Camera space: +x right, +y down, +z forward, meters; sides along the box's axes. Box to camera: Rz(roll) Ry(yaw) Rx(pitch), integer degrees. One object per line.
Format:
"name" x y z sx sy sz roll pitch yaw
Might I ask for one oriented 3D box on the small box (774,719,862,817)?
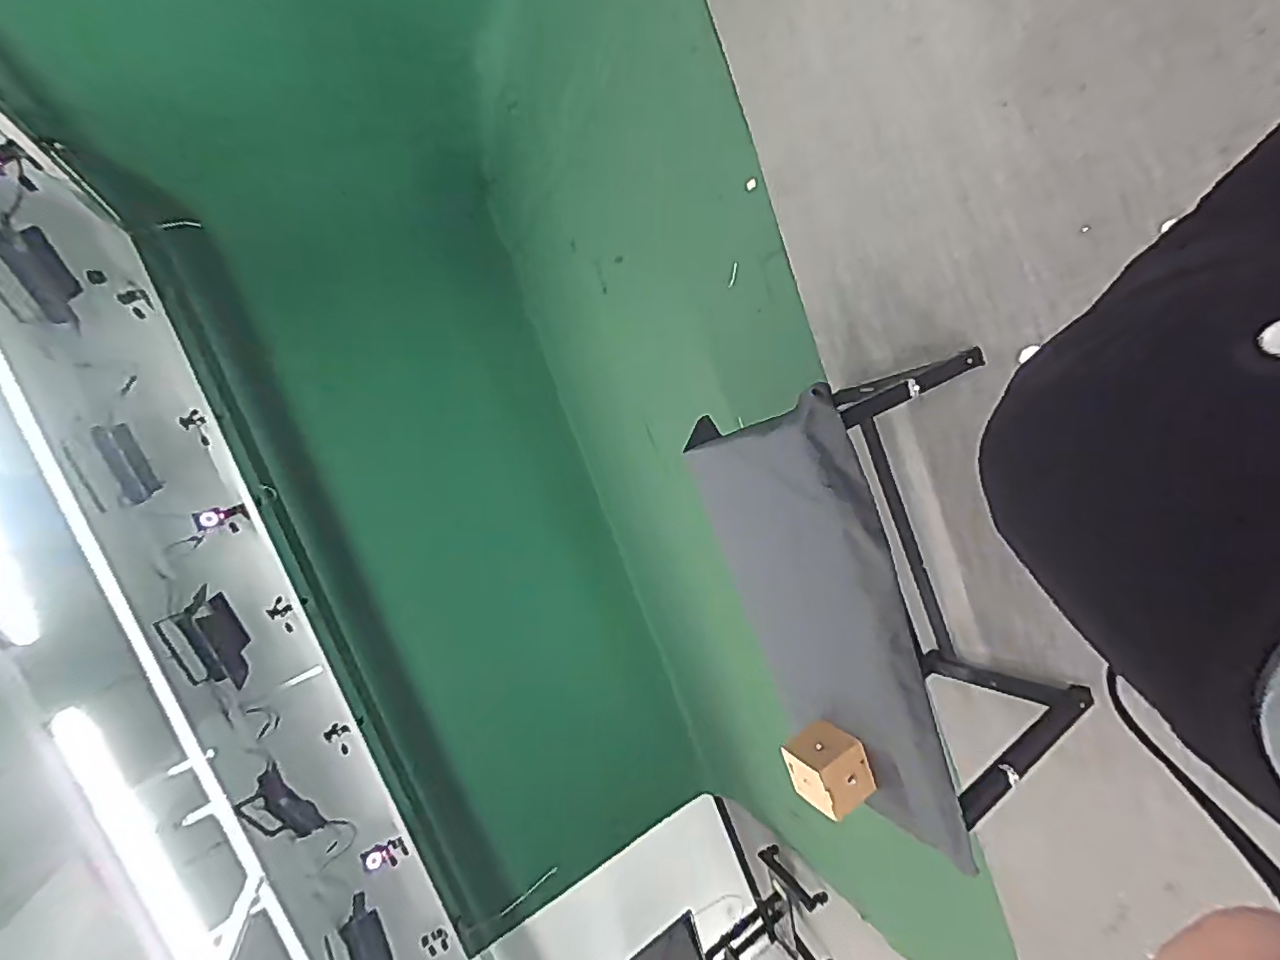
"small box" 0.541 0.853 1.625 0.179 0.176 0.168 -4 107 65
